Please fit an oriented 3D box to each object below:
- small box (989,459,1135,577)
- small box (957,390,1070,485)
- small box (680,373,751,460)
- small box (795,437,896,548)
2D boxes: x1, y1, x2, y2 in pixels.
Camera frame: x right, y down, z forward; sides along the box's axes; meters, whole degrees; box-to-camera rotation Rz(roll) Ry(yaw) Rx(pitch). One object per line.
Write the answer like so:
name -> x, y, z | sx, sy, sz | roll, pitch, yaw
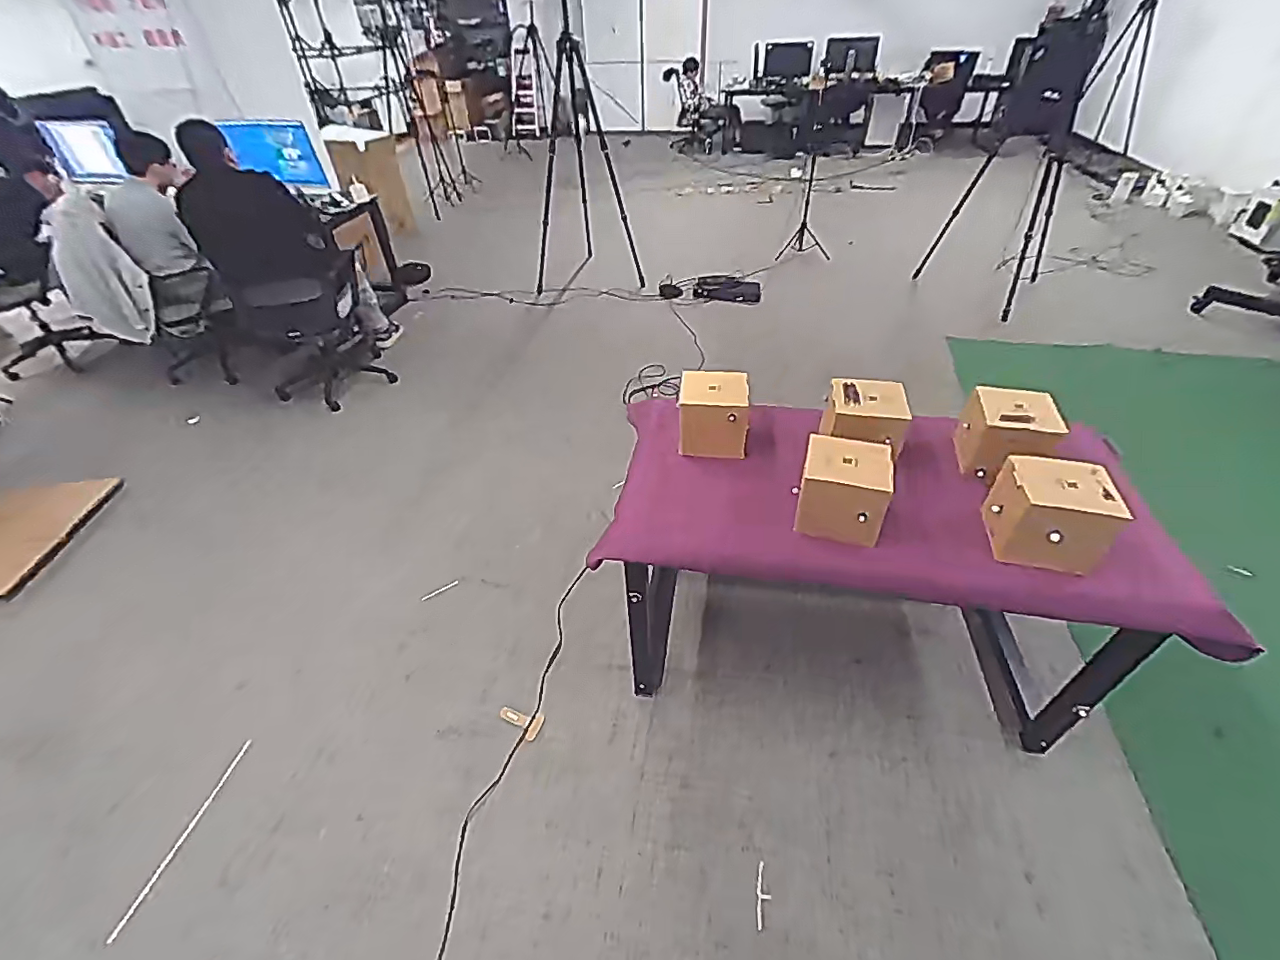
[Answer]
small box -> 0.852, 0.079, 1.119 | 0.179, 0.176, 0.168 | 9, 41, 14
small box -> 0.899, -0.097, 1.320 | 0.168, 0.176, 0.179 | 10, 42, 14
small box -> 0.198, -0.168, 1.441 | 0.179, 0.176, 0.168 | 4, 42, 6
small box -> 0.453, 0.029, 1.201 | 0.179, 0.176, 0.168 | 11, 42, 16
